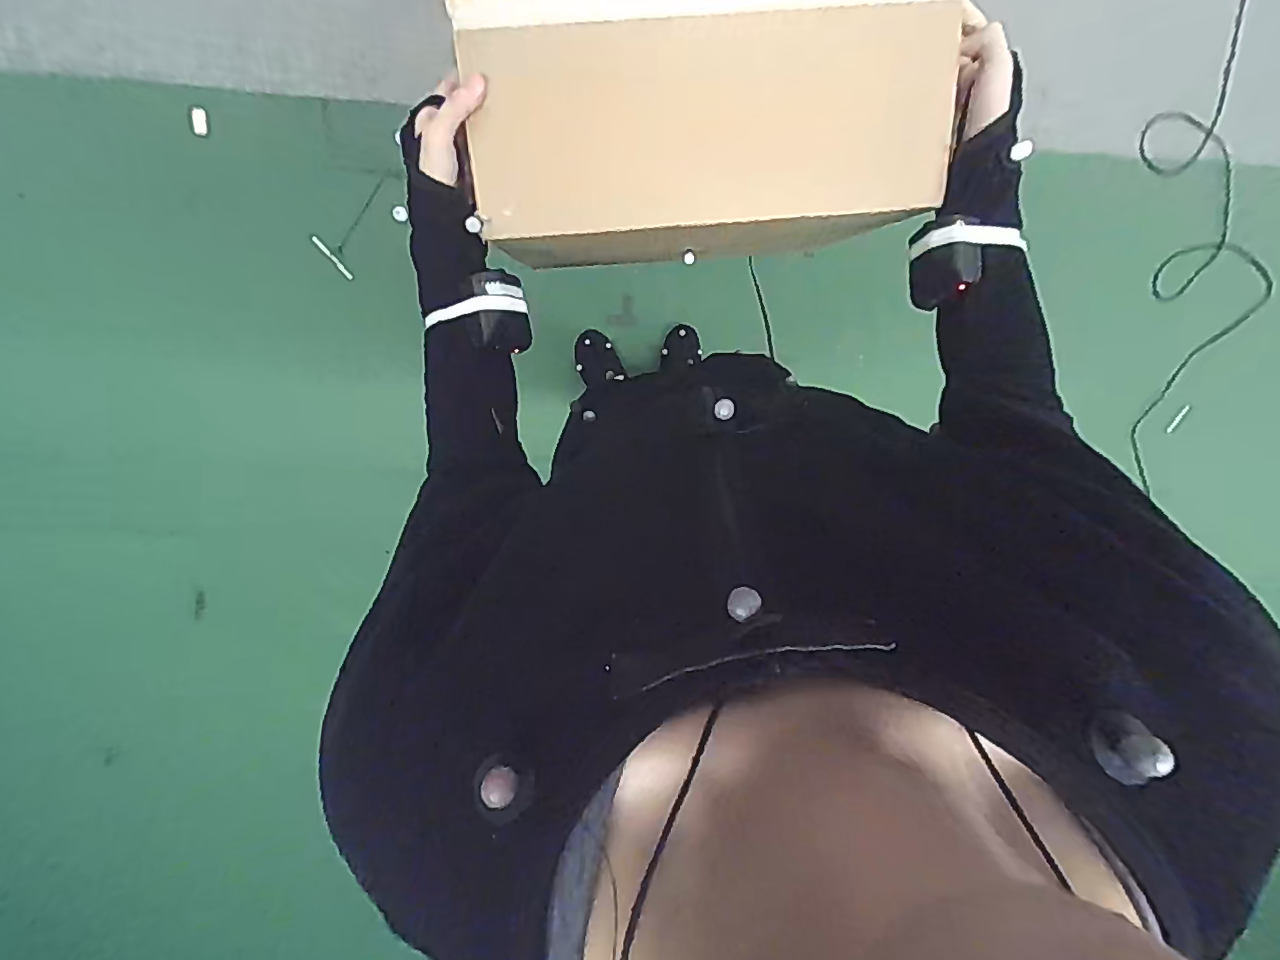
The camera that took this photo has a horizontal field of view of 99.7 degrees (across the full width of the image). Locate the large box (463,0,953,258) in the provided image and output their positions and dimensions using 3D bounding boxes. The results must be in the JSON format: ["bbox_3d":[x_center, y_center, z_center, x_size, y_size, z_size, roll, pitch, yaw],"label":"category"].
[{"bbox_3d":[0.054,-0.425,0.577,0.408,0.320,0.320,-4,107,-1],"label":"large box"}]
